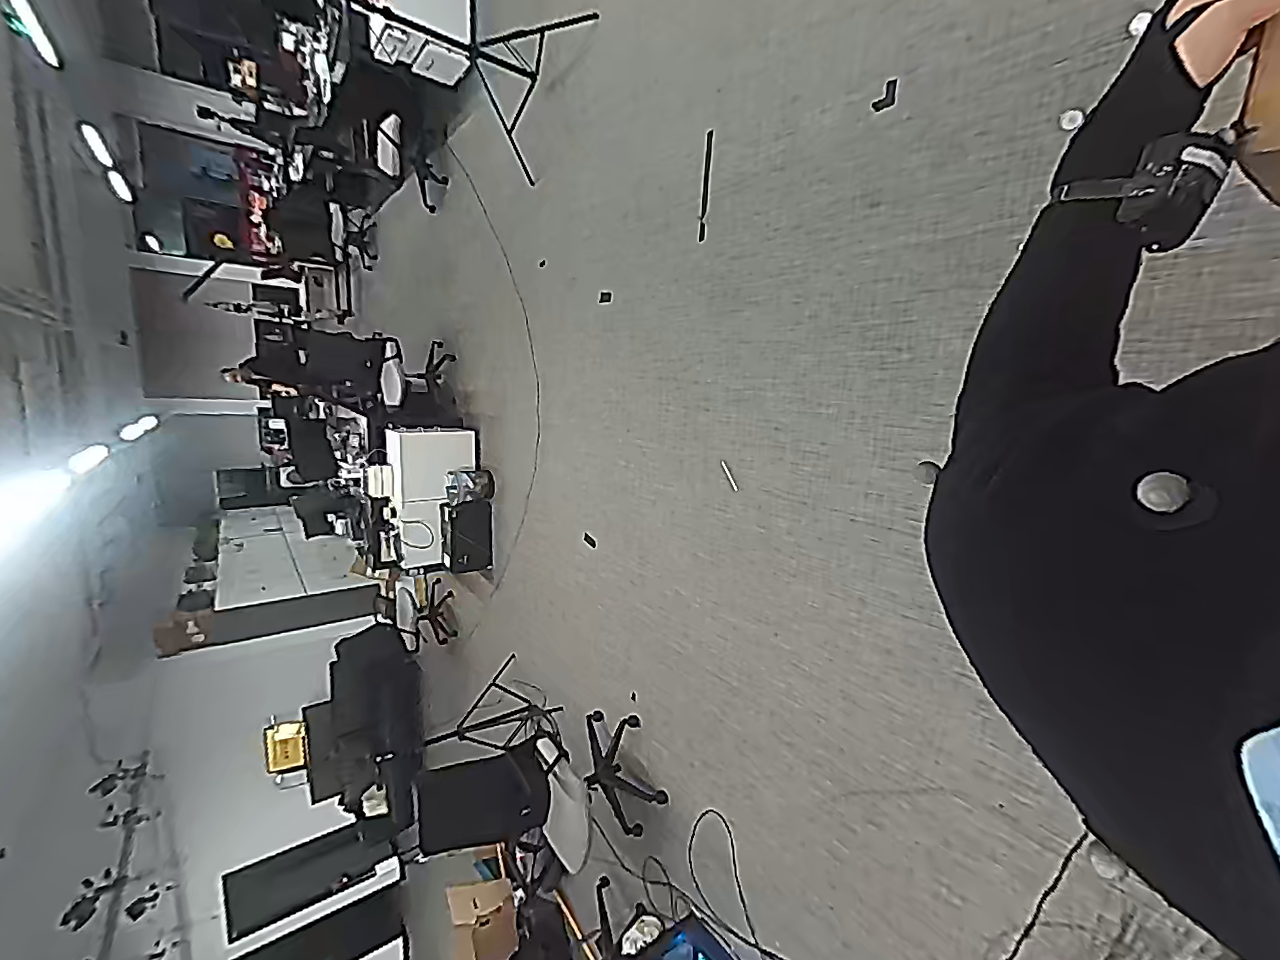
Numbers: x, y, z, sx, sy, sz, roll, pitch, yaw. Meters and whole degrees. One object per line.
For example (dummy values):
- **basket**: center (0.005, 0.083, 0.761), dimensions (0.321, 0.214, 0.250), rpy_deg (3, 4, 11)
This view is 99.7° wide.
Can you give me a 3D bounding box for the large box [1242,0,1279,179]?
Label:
- **large box**: center (0.658, -0.362, 0.267), dimensions (0.408, 0.320, 0.320), rpy_deg (20, 114, 53)
